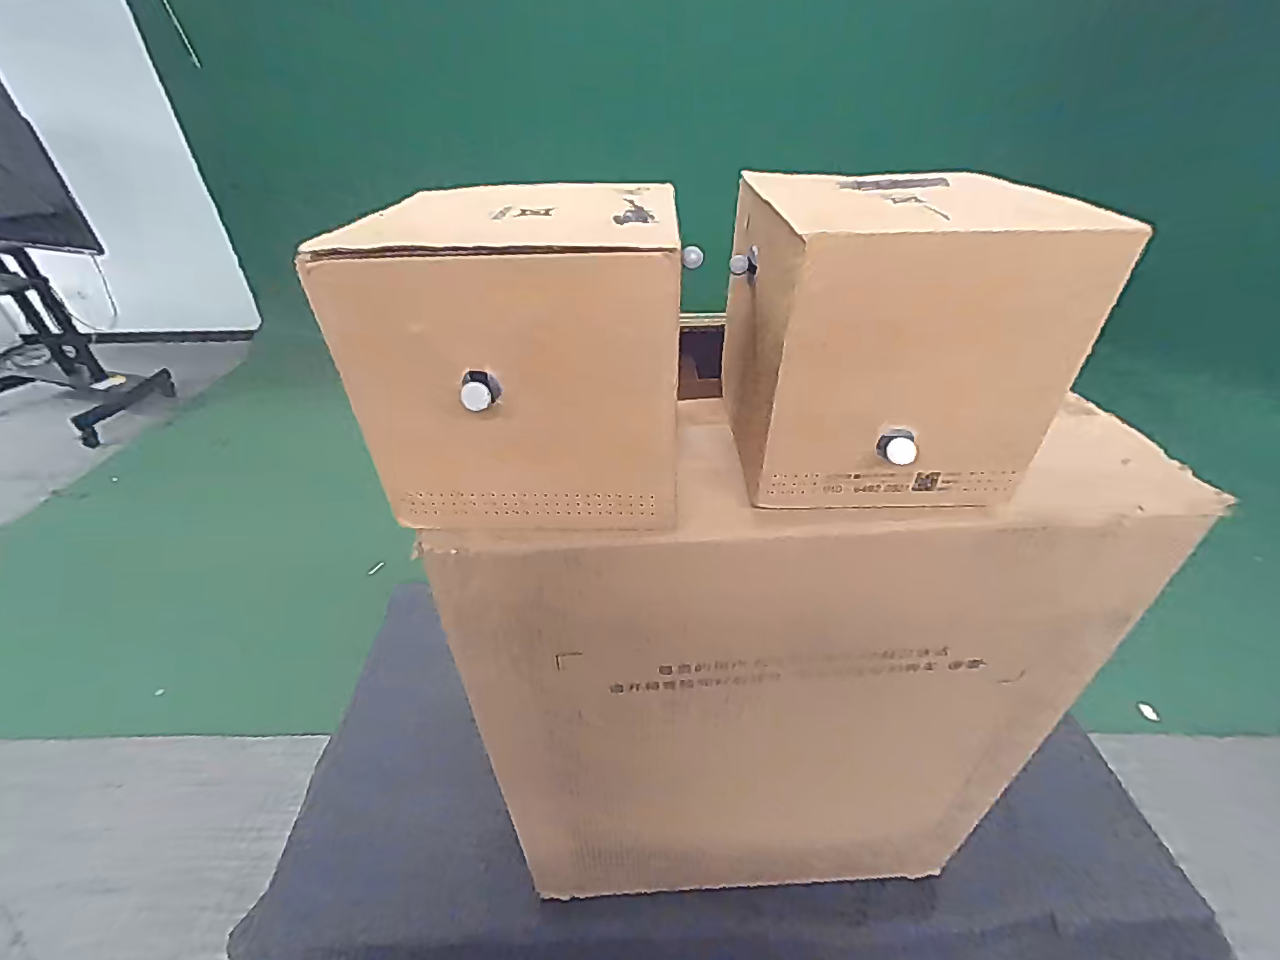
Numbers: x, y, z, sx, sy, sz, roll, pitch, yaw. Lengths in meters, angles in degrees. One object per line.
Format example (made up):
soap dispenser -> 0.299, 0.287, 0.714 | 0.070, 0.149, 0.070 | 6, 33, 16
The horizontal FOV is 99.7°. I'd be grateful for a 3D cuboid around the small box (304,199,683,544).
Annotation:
small box -> -0.062, -0.072, 0.350 | 0.179, 0.176, 0.168 | 1, 38, 2
